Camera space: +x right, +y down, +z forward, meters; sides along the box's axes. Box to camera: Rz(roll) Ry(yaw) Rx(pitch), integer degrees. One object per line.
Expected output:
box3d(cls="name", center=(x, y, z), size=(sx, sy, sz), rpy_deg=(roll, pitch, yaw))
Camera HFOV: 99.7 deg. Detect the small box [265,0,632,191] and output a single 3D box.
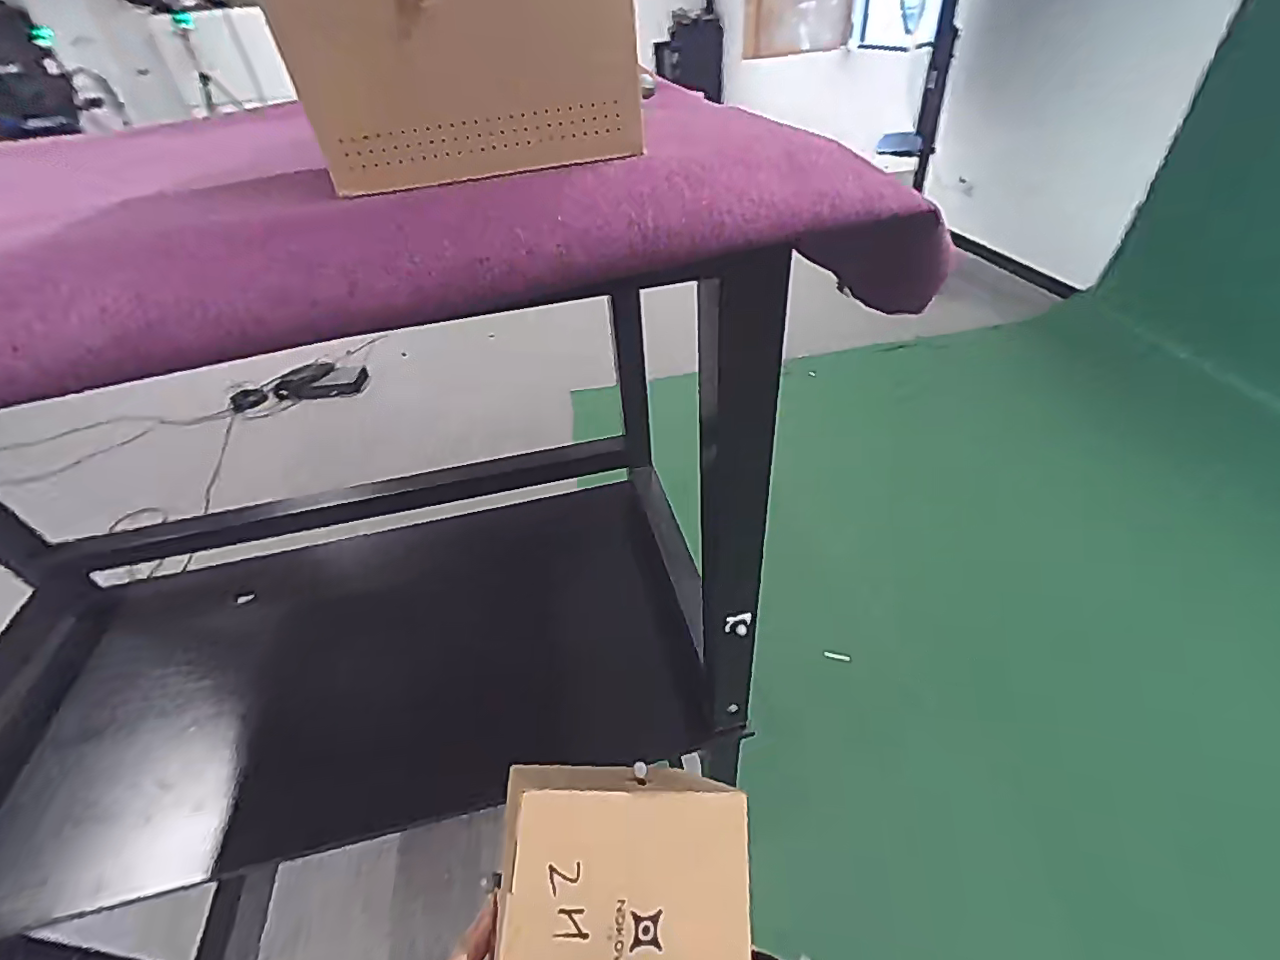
box3d(cls="small box", center=(-0.104, -0.287, 0.314), size=(0.179, 0.176, 0.168), rpy_deg=(-12, 41, -5))
